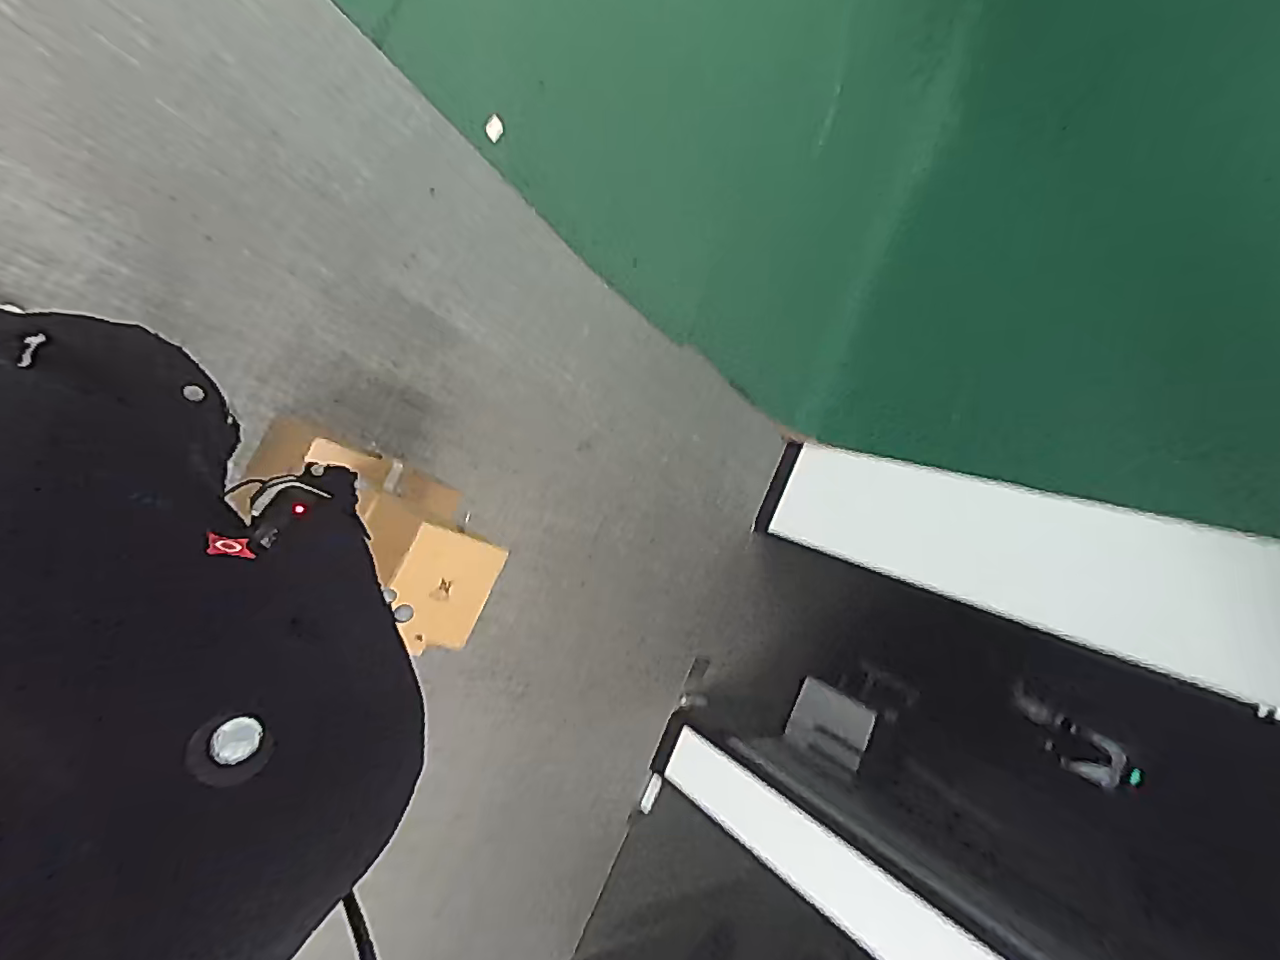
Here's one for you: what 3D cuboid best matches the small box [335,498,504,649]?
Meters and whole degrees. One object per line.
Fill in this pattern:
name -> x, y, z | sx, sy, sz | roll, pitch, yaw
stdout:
small box -> -0.362, 0.147, 0.880 | 0.168, 0.176, 0.179 | 32, 81, -47

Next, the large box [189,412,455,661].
large box -> -0.673, 0.116, 1.152 | 0.320, 0.320, 0.408 | 30, 84, -46
